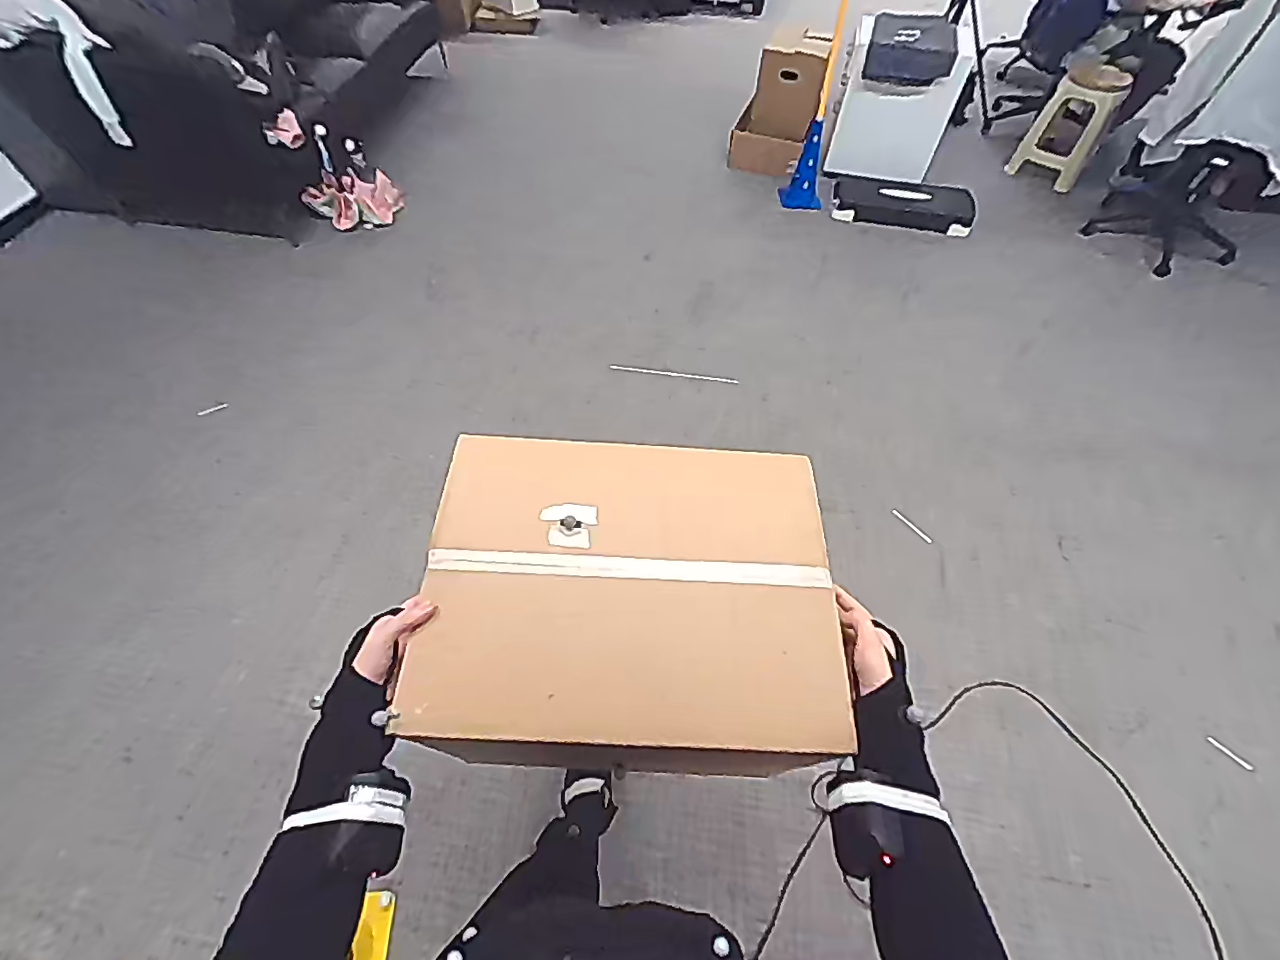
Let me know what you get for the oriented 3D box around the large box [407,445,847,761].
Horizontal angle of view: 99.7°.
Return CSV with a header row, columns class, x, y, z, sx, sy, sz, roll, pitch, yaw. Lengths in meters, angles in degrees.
class,x,y,z,sx,sy,sz,roll,pitch,yaw
large box,-0.010,0.173,0.686,0.408,0.320,0.320,3,58,-1
